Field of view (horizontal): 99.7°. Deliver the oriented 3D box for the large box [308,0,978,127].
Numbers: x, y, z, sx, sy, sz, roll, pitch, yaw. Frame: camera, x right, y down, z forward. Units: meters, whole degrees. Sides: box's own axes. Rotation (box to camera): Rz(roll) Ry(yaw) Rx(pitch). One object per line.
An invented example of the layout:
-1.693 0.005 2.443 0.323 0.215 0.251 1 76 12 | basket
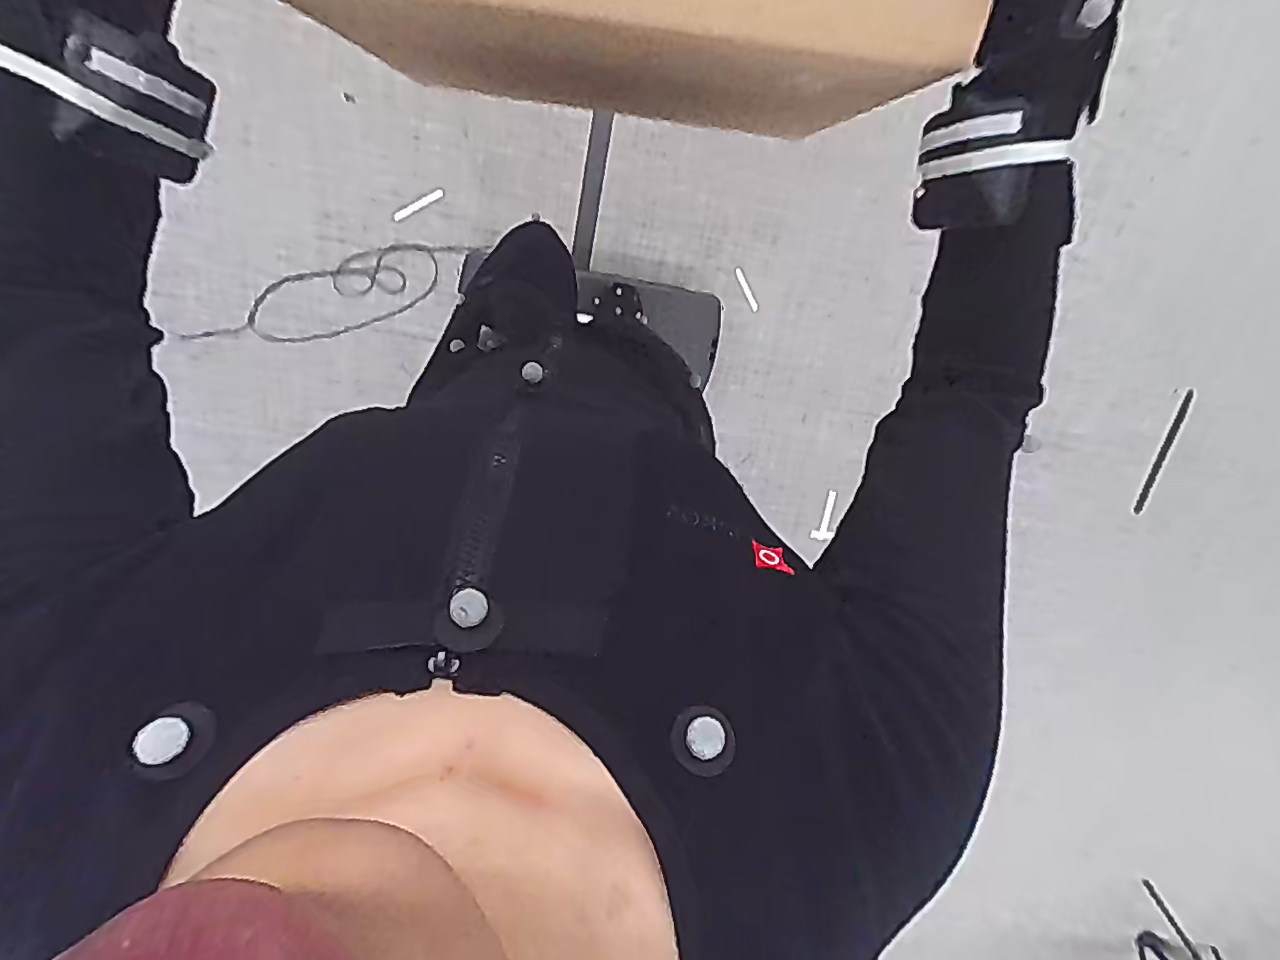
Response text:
-0.006 -0.457 0.360 0.408 0.320 0.320 4 117 -5 | large box
